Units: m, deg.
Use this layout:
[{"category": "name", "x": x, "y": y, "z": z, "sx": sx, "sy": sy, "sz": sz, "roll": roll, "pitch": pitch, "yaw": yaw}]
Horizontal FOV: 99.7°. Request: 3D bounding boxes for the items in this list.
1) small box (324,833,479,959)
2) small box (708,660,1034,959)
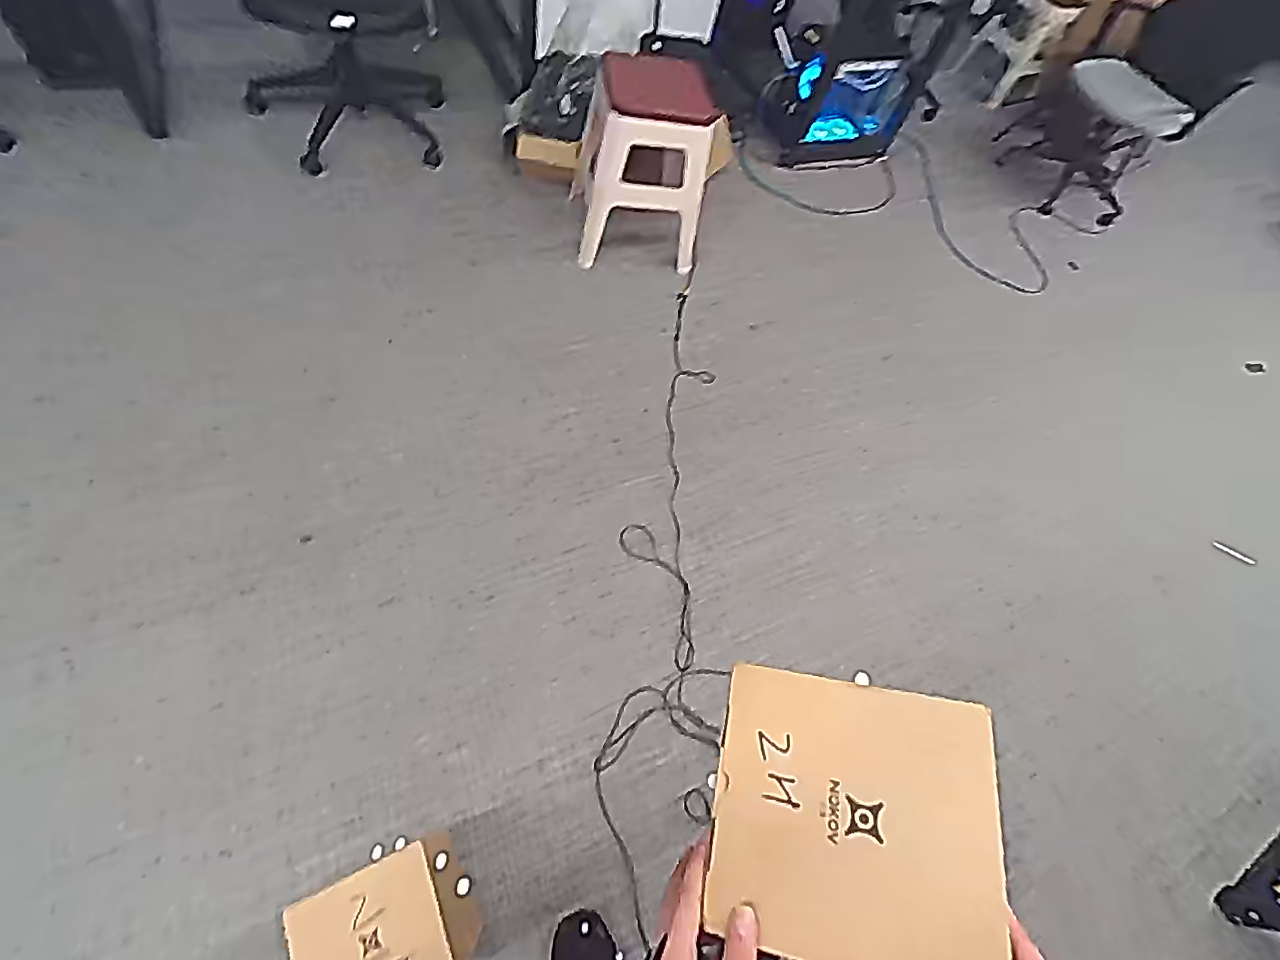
[{"category": "small box", "x": -0.367, "y": 0.692, "z": 0.853, "sx": 0.168, "sy": 0.176, "sz": 0.179, "roll": -23, "pitch": 69, "yaw": -23}, {"category": "small box", "x": 0.158, "y": 0.249, "z": 0.404, "sx": 0.179, "sy": 0.176, "sz": 0.168, "roll": 5, "pitch": 61, "yaw": 17}]
